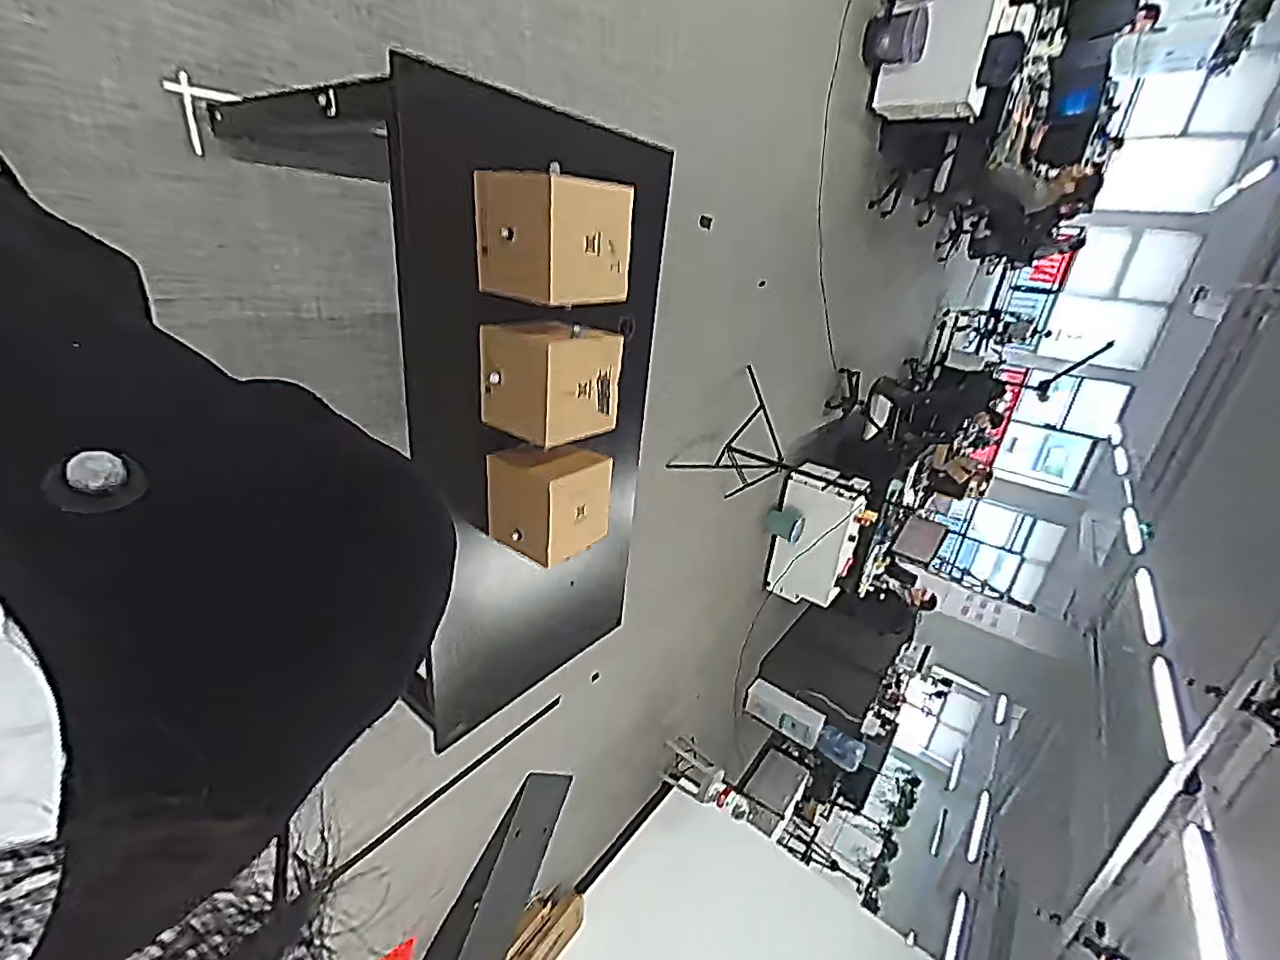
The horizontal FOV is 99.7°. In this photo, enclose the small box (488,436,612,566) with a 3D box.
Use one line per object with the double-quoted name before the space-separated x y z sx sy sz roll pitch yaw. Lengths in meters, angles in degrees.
"small box" -0.174 0.032 1.035 0.168 0.176 0.179 -24 127 -49
